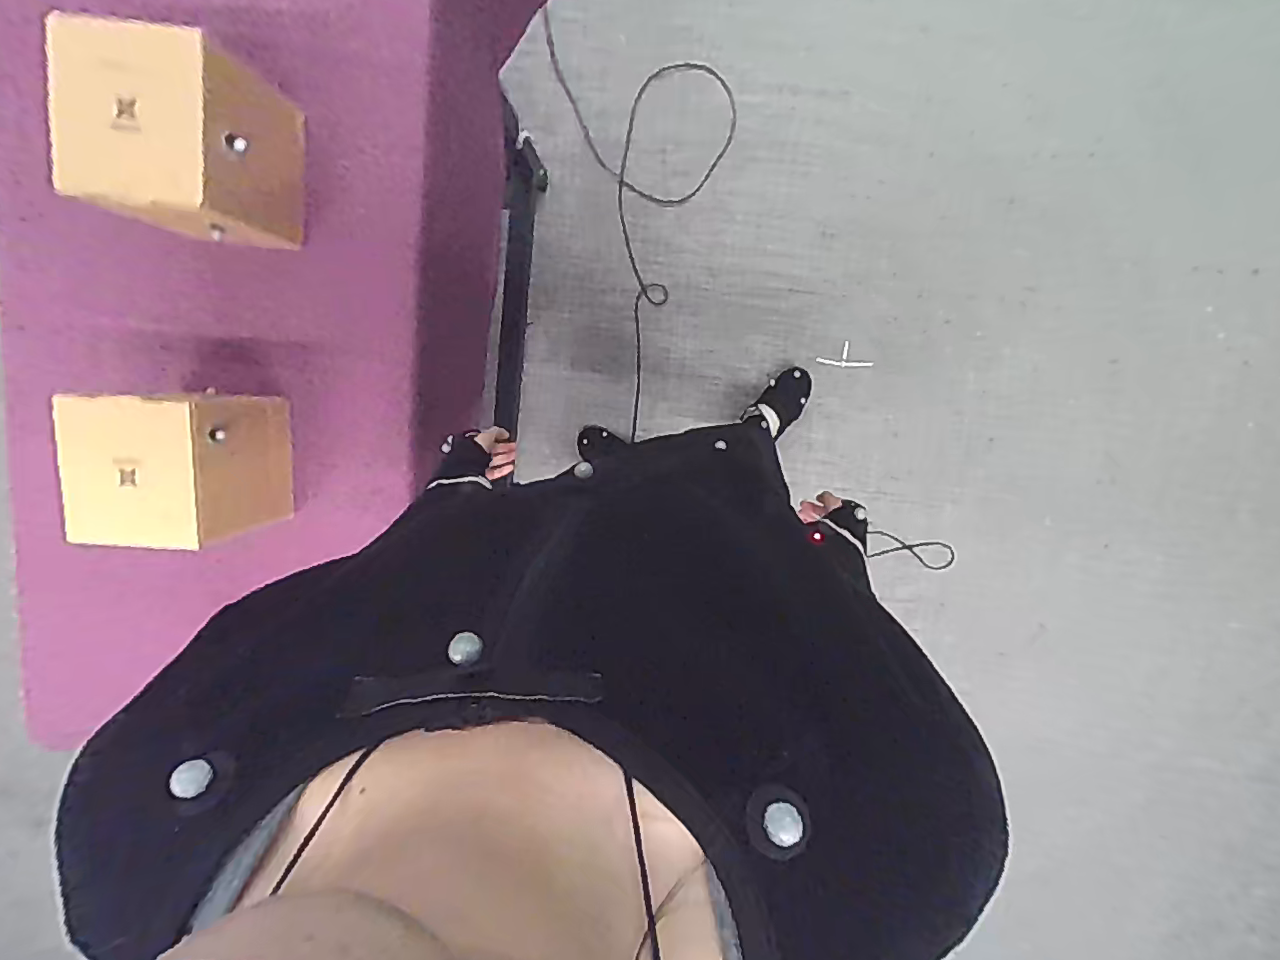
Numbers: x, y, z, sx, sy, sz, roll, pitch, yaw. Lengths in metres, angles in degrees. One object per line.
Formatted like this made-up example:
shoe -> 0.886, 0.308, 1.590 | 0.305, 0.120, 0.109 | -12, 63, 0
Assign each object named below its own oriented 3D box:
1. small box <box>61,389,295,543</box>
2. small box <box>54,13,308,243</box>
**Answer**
small box -> -0.588, -0.027, 0.714 | 0.168, 0.176, 0.179 | 3, 98, 3
small box -> -0.531, -0.401, 0.649 | 0.168, 0.176, 0.179 | 8, 99, 1
